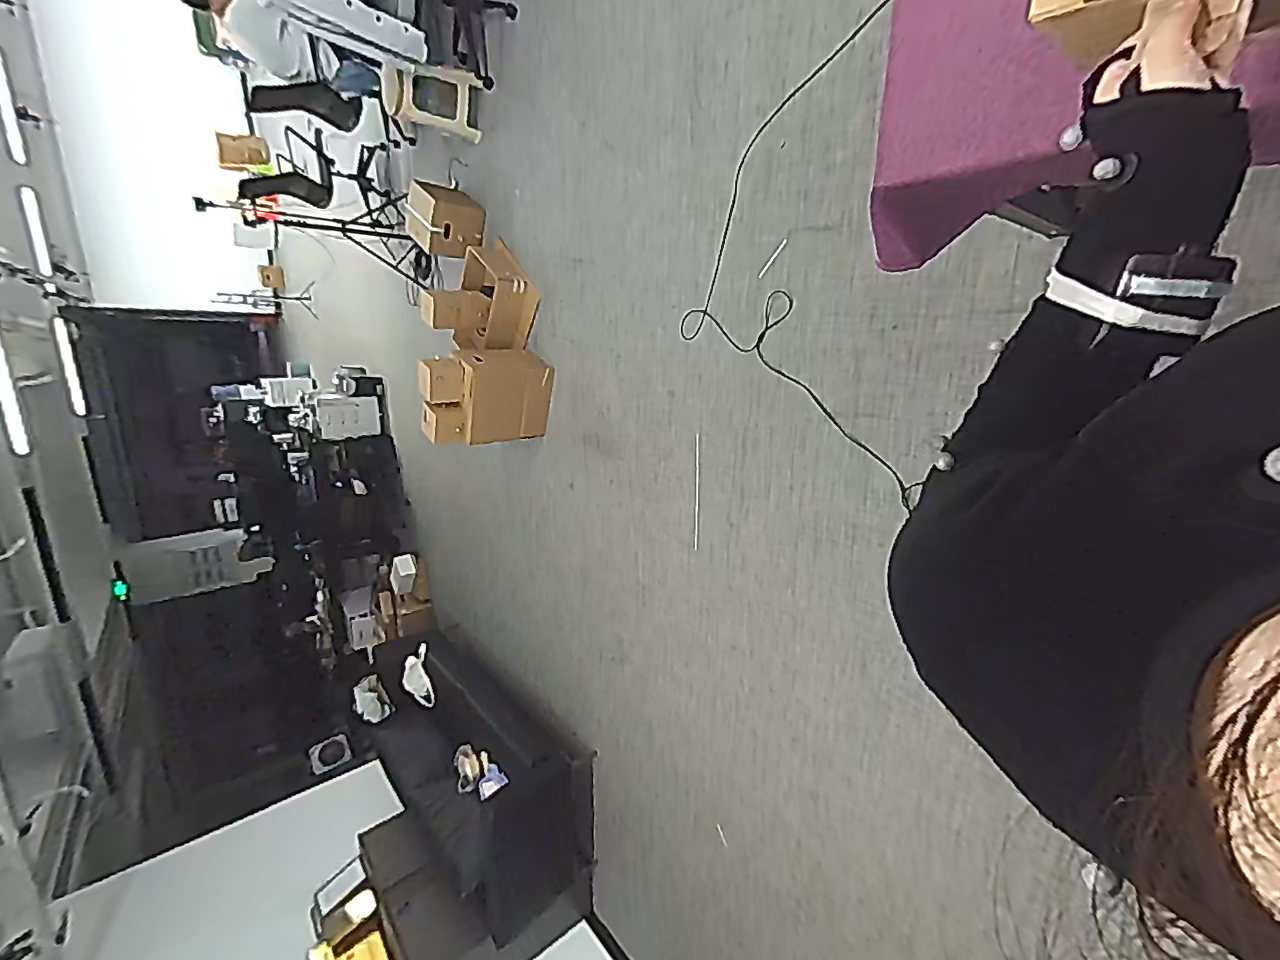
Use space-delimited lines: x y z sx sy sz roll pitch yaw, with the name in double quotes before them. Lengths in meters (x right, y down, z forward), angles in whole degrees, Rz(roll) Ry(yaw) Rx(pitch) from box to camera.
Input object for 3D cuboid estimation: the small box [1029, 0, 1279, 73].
"small box" 0.393 -0.409 0.355 0.168 0.176 0.179 20 119 46
